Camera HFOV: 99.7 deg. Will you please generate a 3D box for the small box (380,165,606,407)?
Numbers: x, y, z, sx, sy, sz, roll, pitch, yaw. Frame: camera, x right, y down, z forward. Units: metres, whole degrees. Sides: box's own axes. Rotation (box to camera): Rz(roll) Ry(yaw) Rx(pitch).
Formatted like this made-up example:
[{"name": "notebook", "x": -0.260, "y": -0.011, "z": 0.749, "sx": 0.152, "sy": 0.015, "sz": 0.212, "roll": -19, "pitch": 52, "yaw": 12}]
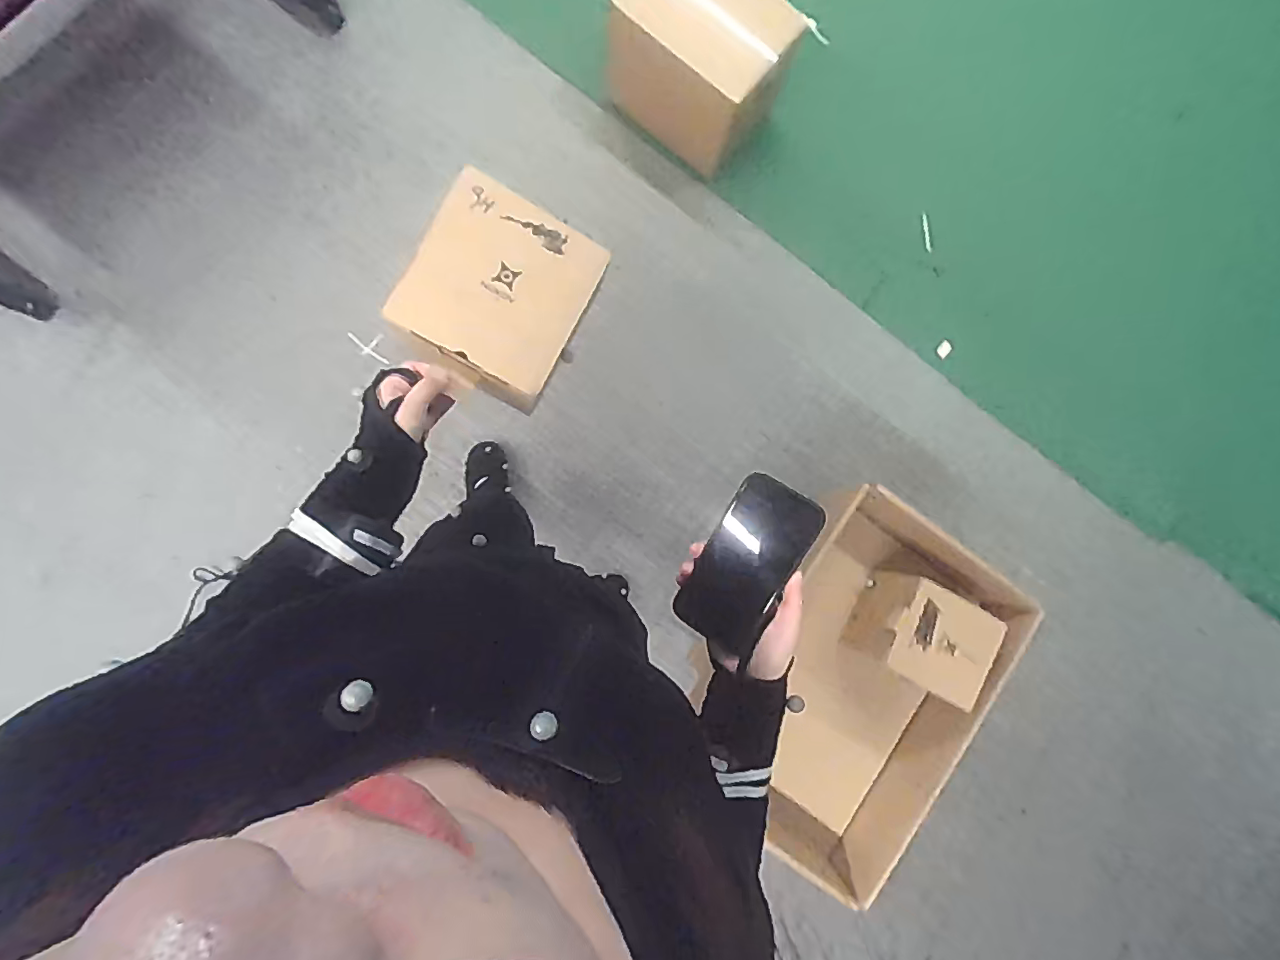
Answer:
[{"name": "small box", "x": -0.157, "y": -0.198, "z": 0.615, "sx": 0.168, "sy": 0.176, "sz": 0.179, "roll": 28, "pitch": 85, "yaw": -11}]
